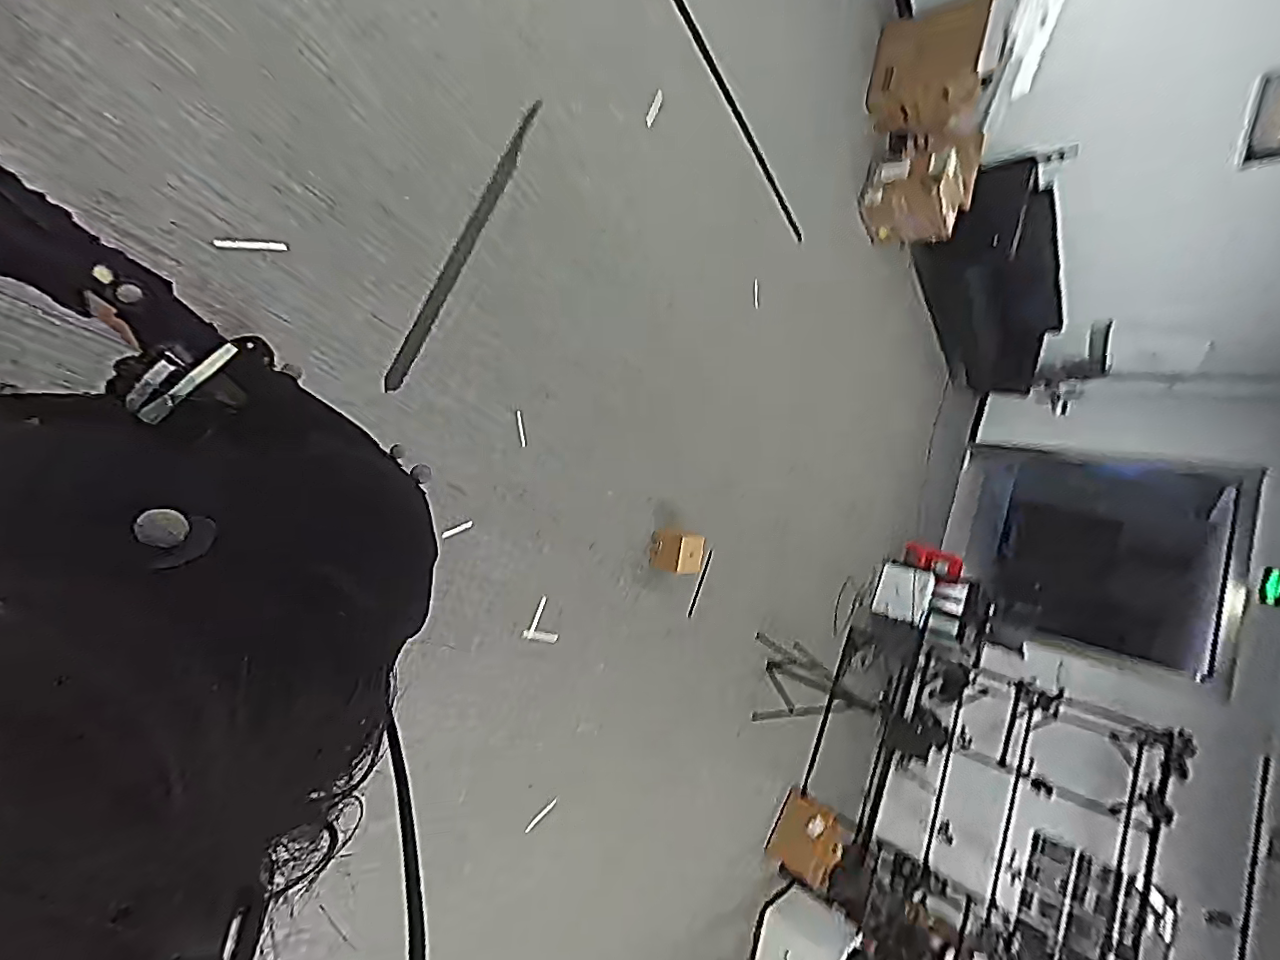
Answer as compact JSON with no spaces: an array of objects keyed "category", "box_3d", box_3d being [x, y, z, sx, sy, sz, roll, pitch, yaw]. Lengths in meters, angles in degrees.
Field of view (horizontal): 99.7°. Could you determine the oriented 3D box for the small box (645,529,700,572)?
[{"category":"small box","box_3d":[0.149,0.319,2.470,0.179,0.176,0.168,6,93,-48]}]
